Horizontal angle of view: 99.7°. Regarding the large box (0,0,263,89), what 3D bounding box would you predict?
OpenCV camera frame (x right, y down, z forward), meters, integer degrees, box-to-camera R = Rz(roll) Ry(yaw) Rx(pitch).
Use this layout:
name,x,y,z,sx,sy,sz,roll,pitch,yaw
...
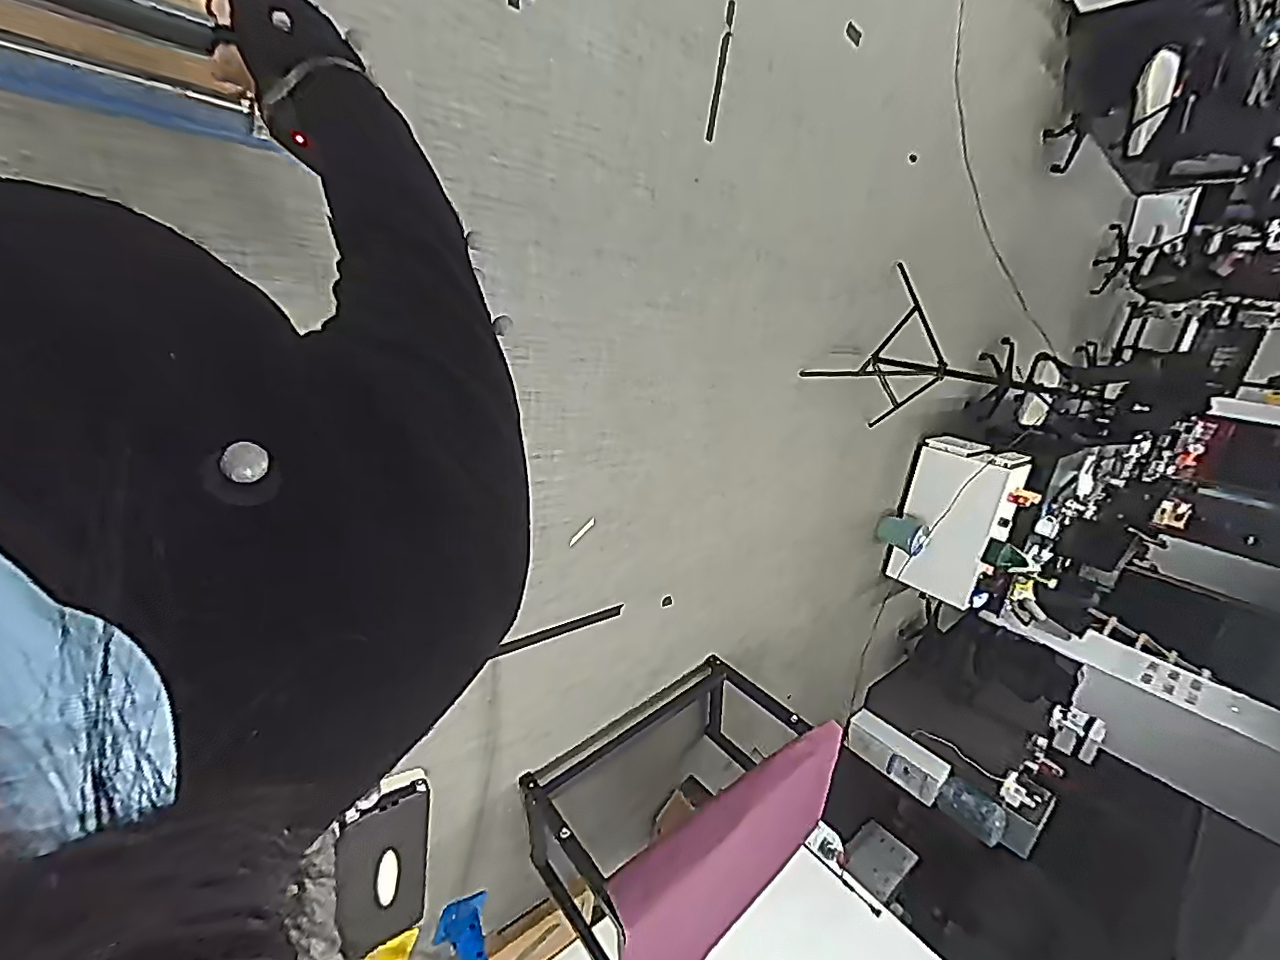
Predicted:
name,x,y,z,sx,sy,sz,roll,pitch,yaw
large box,-0.755,-0.761,0.681,0.408,0.320,0.320,-9,115,-41
